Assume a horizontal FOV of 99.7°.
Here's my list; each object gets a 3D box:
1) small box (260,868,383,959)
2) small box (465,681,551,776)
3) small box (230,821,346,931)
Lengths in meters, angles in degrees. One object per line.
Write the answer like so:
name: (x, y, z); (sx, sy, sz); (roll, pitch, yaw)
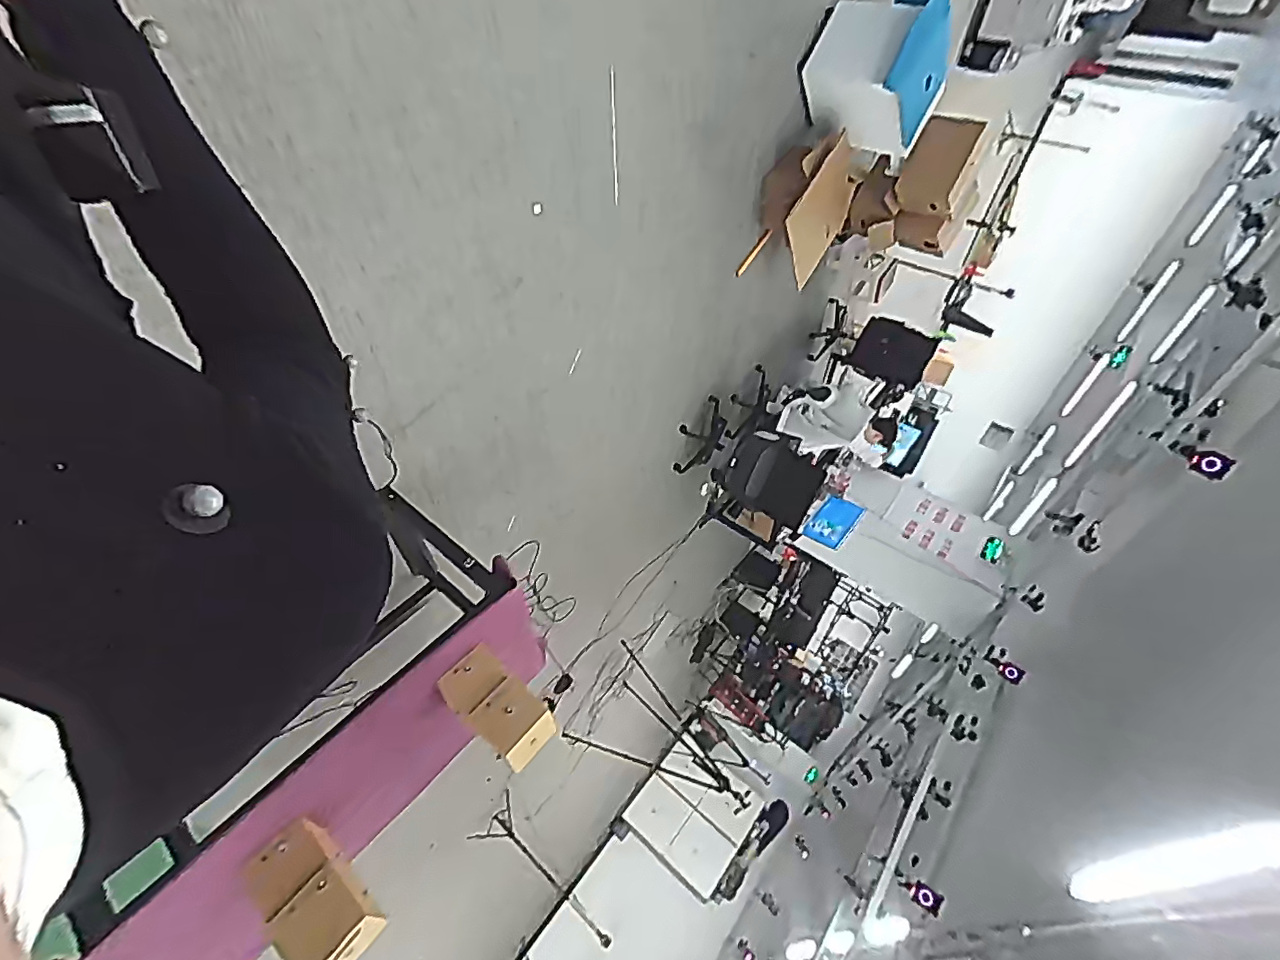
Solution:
small box: (-0.768, 1.083, 1.307); (0.168, 0.176, 0.179); (-43, 152, -33)
small box: (-0.389, 0.724, 1.593); (0.168, 0.176, 0.179); (-41, 149, -31)
small box: (-0.897, 1.020, 1.389); (0.168, 0.176, 0.179); (-42, 150, -35)
